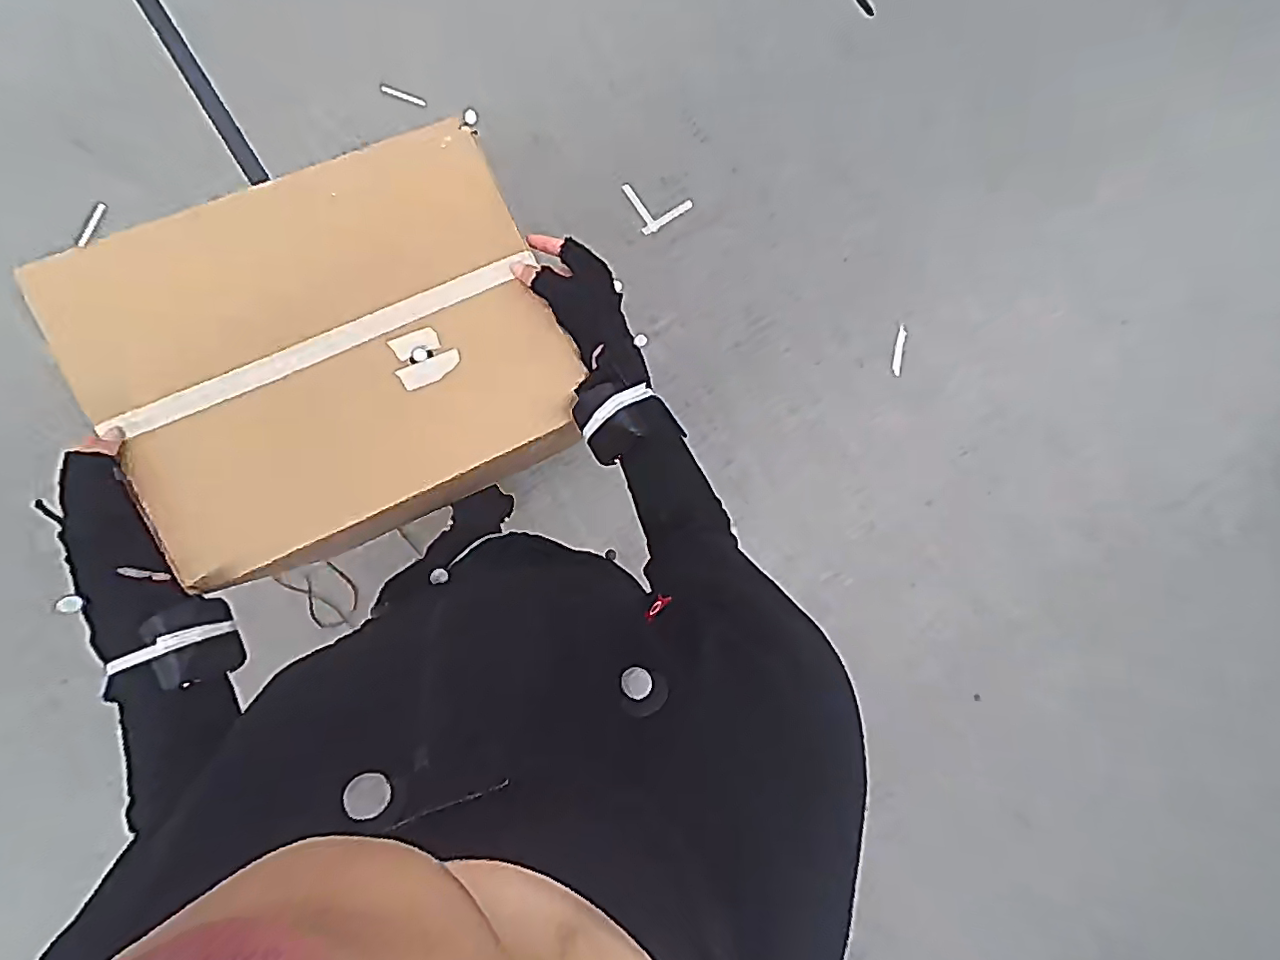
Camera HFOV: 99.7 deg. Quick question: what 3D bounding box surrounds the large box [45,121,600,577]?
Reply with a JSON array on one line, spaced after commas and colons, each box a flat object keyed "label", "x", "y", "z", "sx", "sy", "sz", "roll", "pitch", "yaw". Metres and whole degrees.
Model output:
[{"label": "large box", "x": -0.306, "y": -0.128, "z": 0.654, "sx": 0.408, "sy": 0.320, "sz": 0.320, "roll": -27, "pitch": 94, "yaw": -11}]
